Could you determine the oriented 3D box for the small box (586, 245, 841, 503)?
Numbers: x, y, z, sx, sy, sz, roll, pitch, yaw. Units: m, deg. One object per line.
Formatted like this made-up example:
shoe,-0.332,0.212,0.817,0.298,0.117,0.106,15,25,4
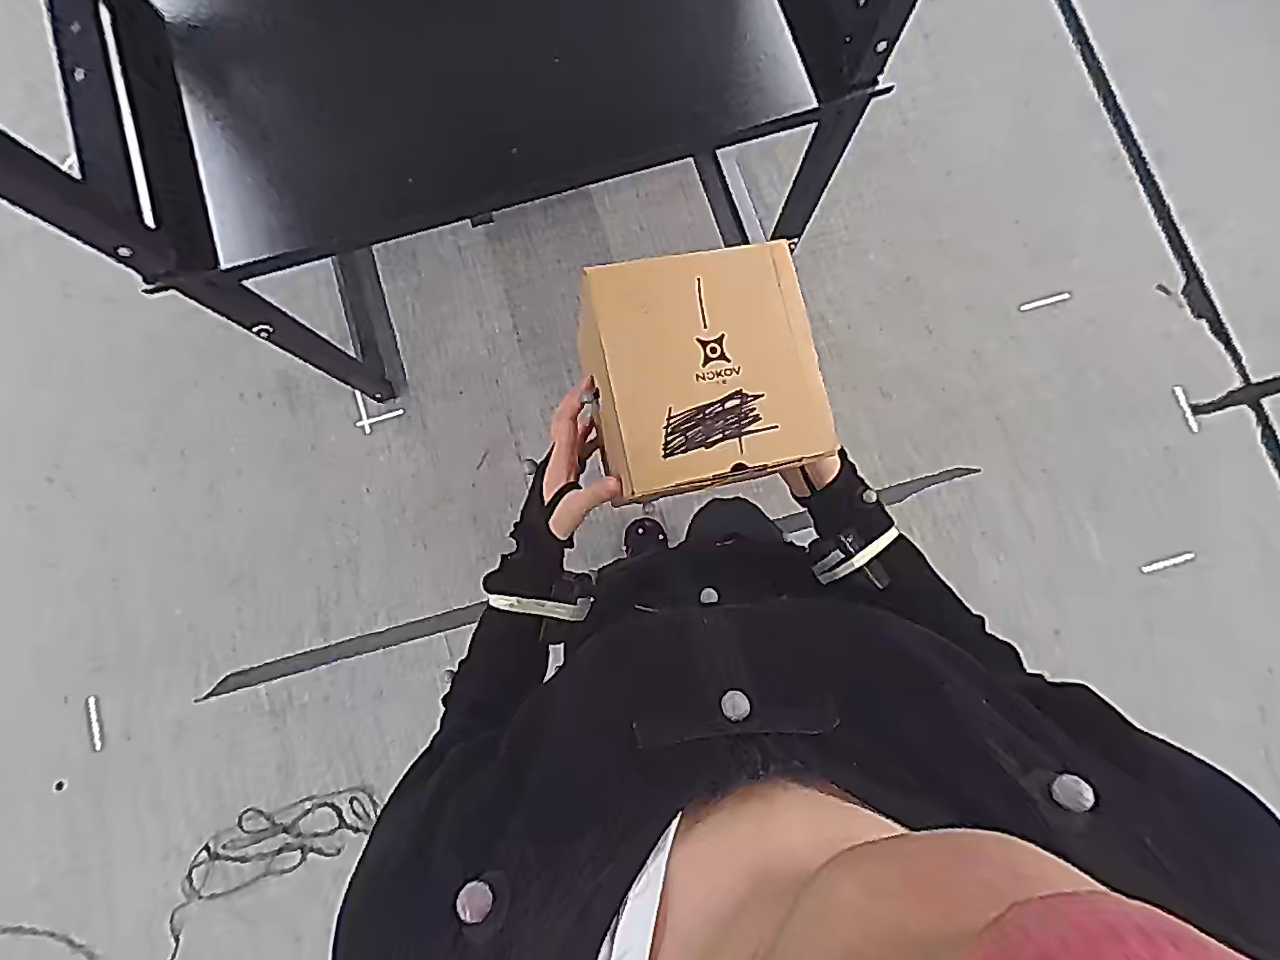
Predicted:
small box,0.048,-0.078,0.486,0.168,0.176,0.179,-11,85,-10
